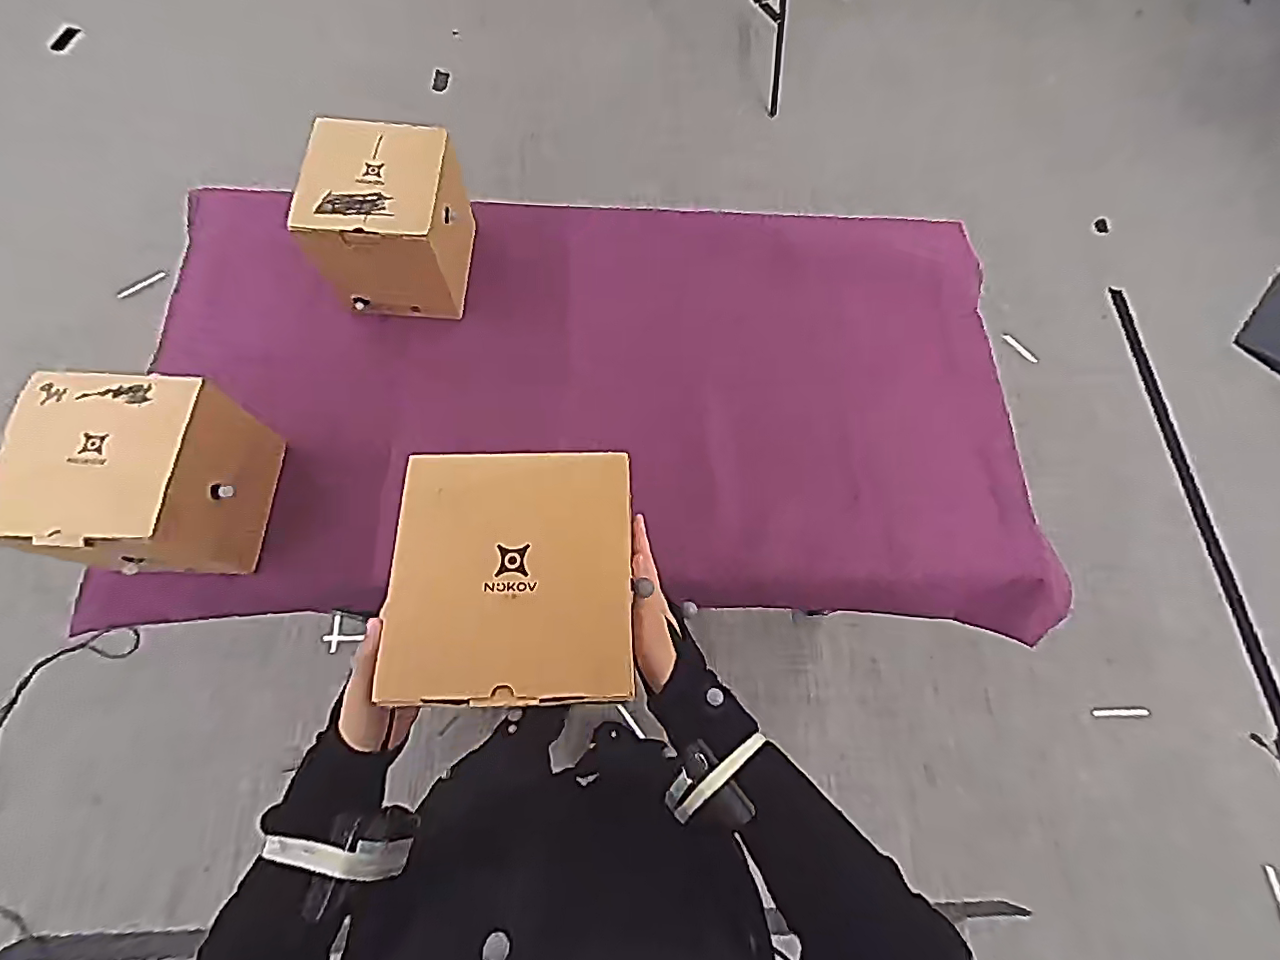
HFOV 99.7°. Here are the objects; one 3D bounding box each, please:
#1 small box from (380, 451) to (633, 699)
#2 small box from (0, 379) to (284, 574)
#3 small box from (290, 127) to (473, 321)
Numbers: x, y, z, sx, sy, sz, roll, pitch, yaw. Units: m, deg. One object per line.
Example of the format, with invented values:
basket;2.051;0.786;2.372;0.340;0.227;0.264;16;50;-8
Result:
small box;-0.091;0.089;0.455;0.168;0.176;0.179;0;69;-2
small box;-0.537;0.007;0.604;0.168;0.176;0.179;2;71;-5
small box;-0.336;-0.340;0.743;0.168;0.176;0.179;3;71;-4
